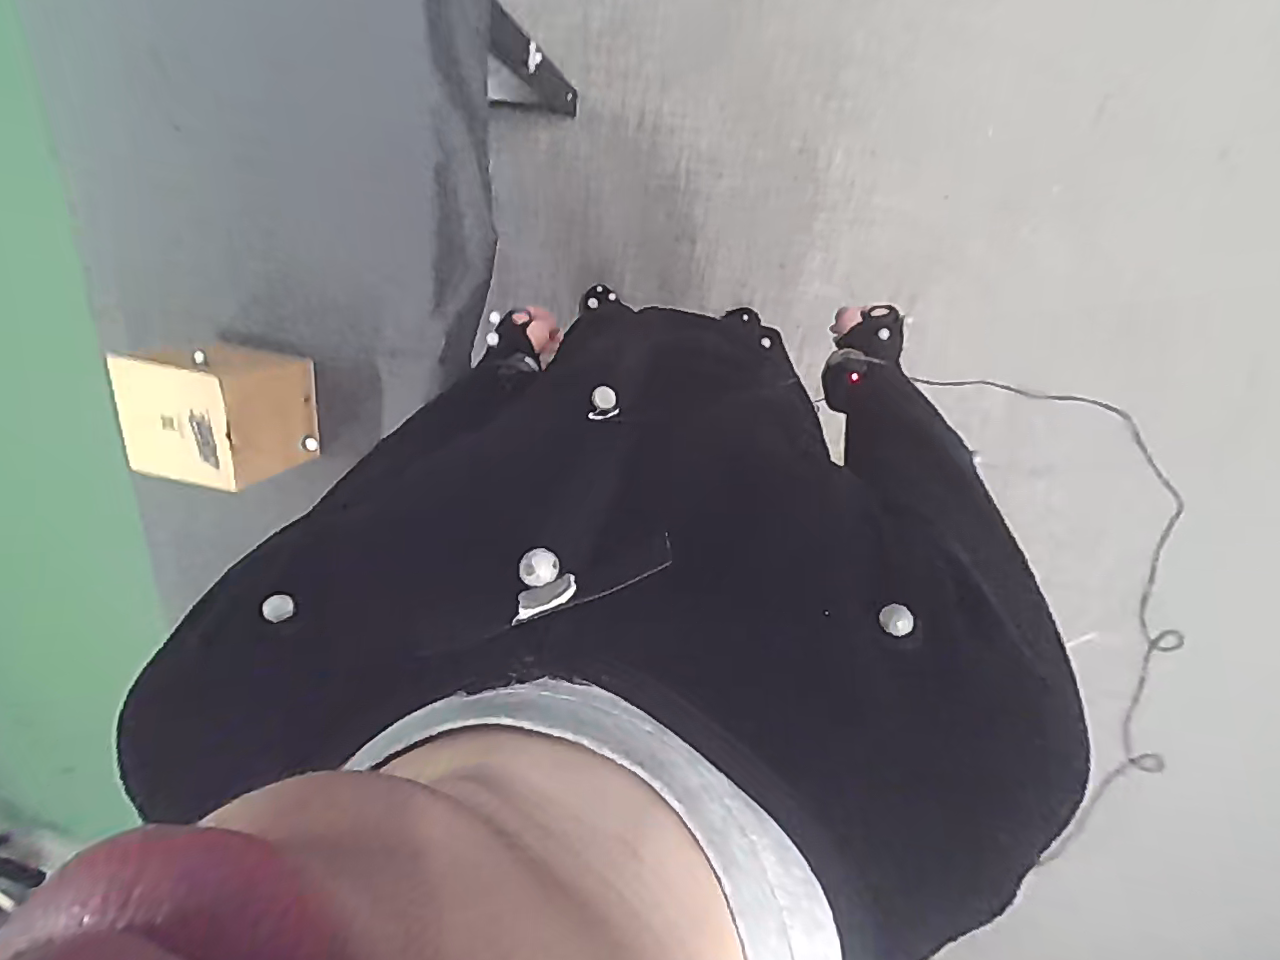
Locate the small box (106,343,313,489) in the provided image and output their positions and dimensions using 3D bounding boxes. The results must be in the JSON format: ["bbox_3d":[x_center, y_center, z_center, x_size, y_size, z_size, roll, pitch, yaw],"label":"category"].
[{"bbox_3d":[-0.625,-0.106,0.814,0.179,0.176,0.168,11,112,6],"label":"small box"}]
